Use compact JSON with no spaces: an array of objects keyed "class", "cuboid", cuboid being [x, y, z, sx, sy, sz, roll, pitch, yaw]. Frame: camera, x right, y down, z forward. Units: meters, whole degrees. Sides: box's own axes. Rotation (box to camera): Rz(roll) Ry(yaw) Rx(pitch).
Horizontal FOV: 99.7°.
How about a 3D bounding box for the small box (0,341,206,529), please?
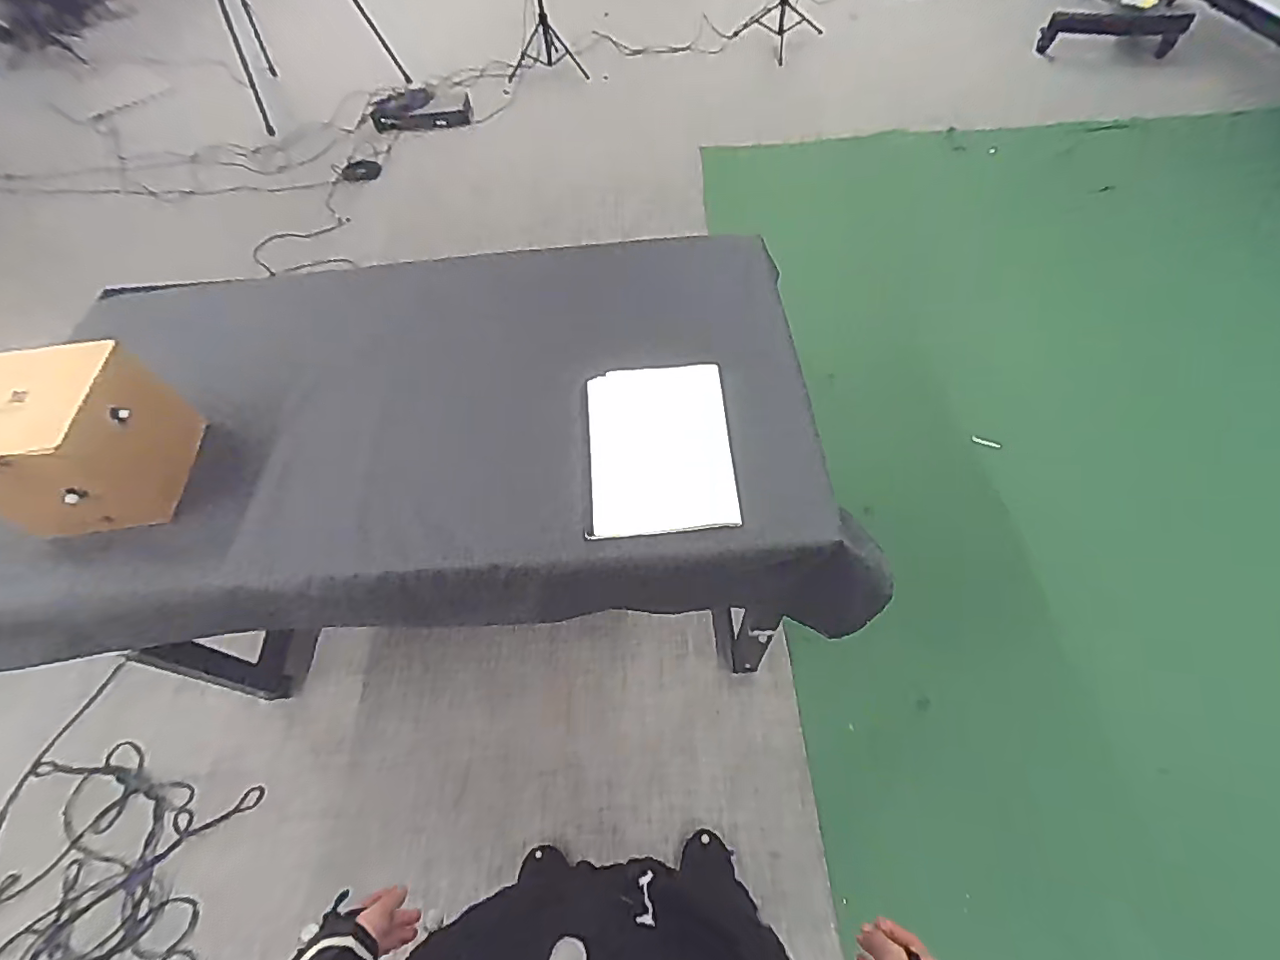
[{"class":"small box","cuboid":[-0.714,-0.049,0.695,0.168,0.176,0.179,-8,56,-3]}]
